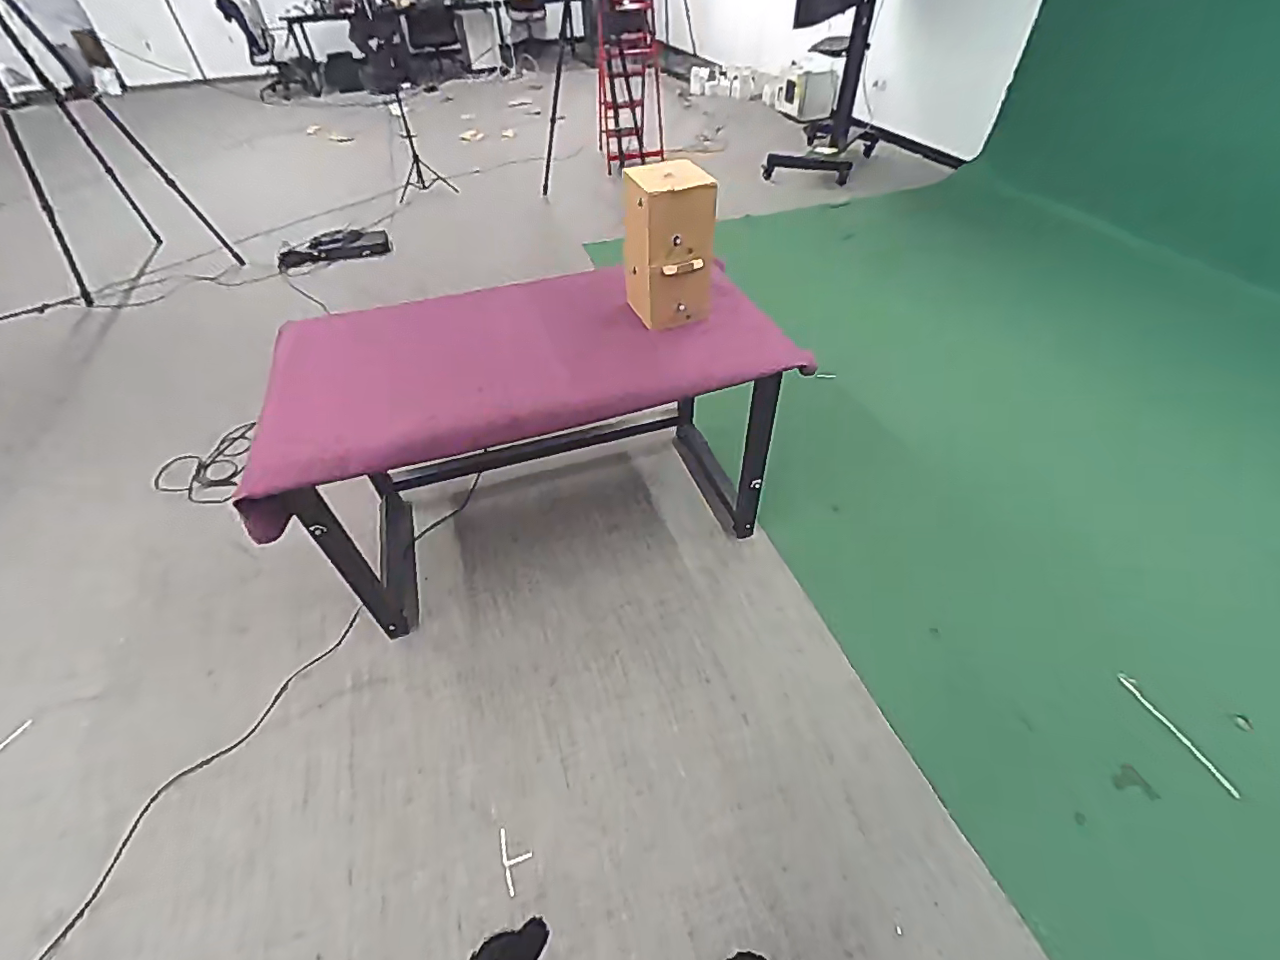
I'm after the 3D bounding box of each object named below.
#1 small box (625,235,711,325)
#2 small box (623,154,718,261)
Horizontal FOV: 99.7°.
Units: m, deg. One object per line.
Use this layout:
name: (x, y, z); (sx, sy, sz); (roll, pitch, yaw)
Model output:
small box: (0.068, -0.523, 1.380); (0.168, 0.176, 0.179); (-17, 49, -13)
small box: (0.065, -0.637, 1.264); (0.168, 0.176, 0.179); (-17, 50, -13)
